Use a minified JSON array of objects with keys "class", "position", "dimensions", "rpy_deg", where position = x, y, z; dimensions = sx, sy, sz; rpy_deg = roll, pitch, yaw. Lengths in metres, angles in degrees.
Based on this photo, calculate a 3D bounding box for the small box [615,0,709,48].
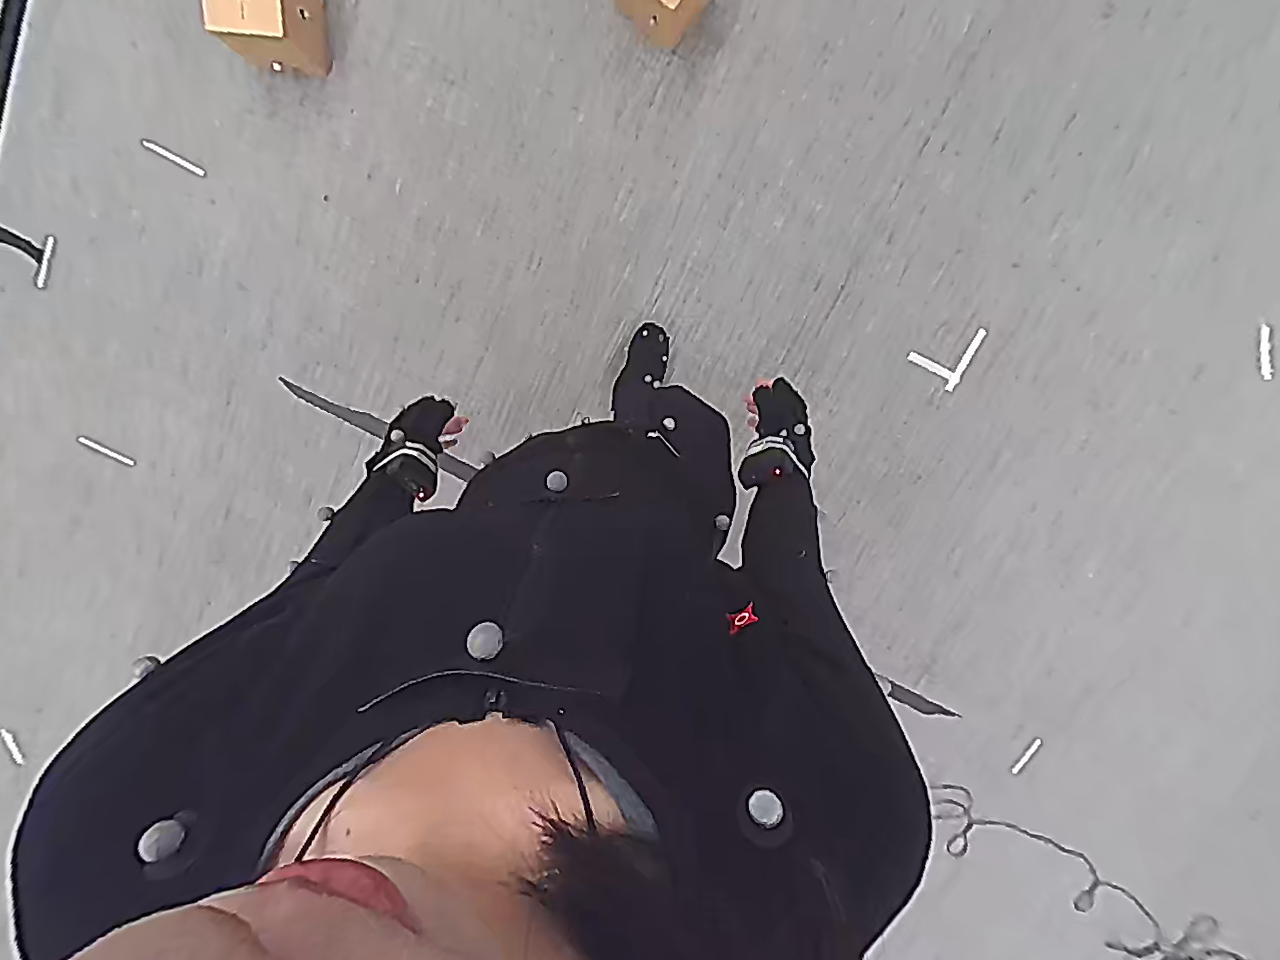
[{"class":"small box","position":[0.055,-1.099,1.176],"dimensions":[0.179,0.176,0.168],"rpy_deg":[40,98,-8]}]

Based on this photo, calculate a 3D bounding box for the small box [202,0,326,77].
[{"class":"small box","position":[-0.816,-1.031,1.184],"dimensions":[0.168,0.176,0.179],"rpy_deg":[5,104,-1]}]
